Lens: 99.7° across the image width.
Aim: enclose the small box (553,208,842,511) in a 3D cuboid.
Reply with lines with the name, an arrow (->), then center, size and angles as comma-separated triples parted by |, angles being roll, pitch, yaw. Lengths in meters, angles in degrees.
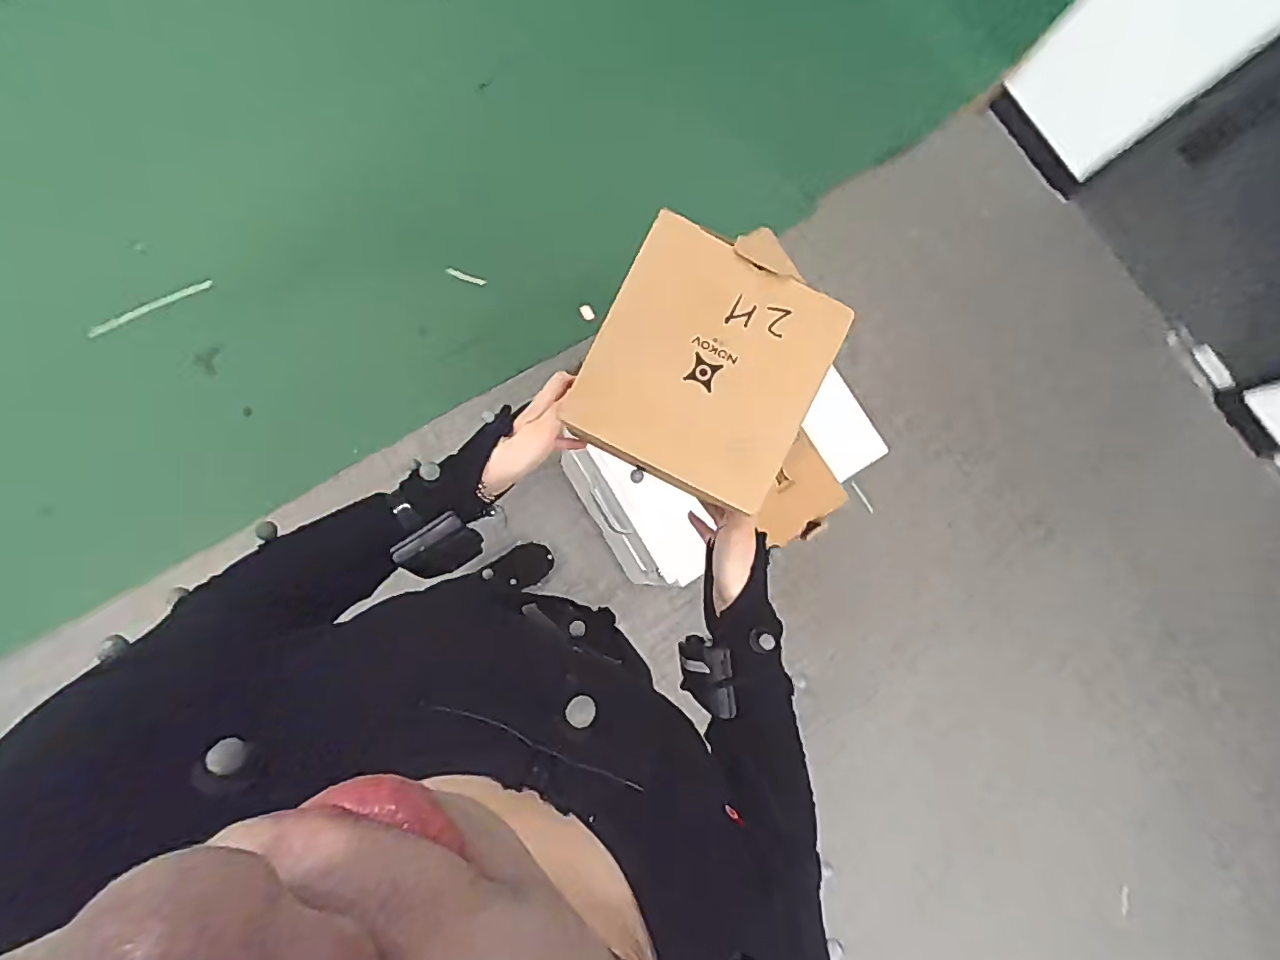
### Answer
small box -> 0.039, -0.090, 0.480 | 0.168, 0.176, 0.179 | 25, 89, -5
